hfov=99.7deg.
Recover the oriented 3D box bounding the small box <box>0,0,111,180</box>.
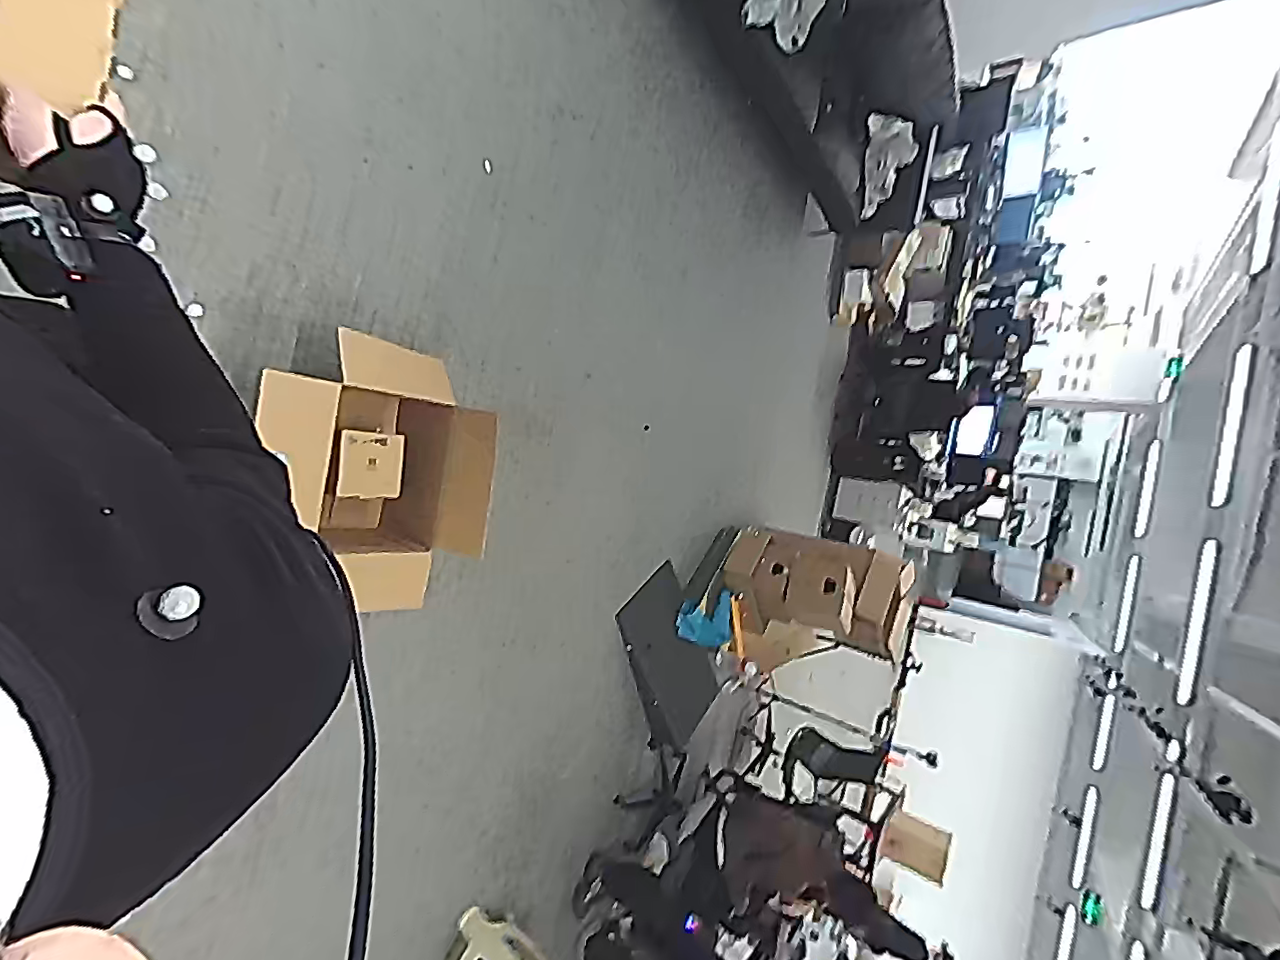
[{"bbox_3d":[-0.576,-0.383,0.445,0.179,0.176,0.168,12,79,-48],"label":"small box"}]
